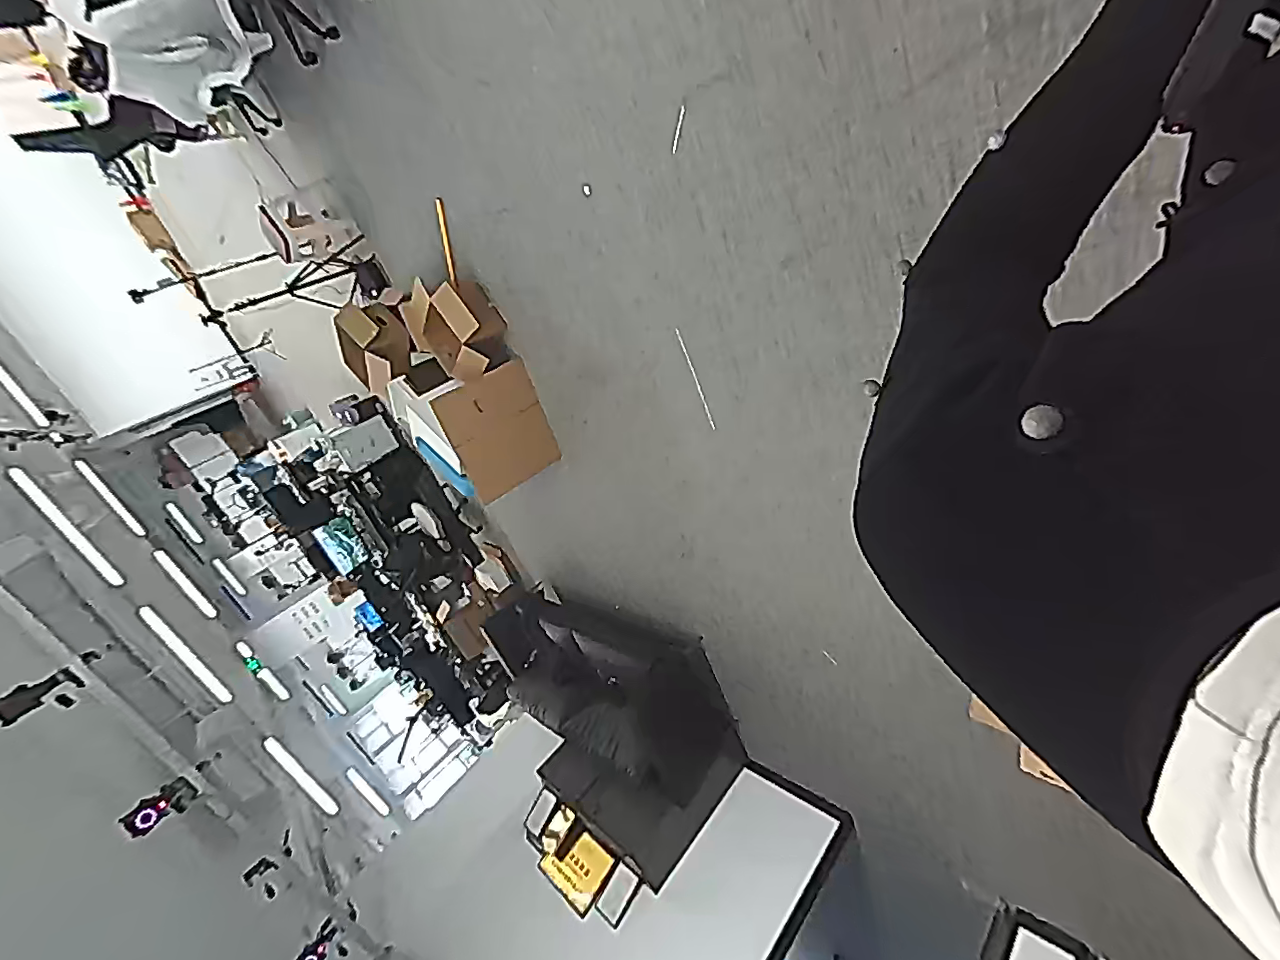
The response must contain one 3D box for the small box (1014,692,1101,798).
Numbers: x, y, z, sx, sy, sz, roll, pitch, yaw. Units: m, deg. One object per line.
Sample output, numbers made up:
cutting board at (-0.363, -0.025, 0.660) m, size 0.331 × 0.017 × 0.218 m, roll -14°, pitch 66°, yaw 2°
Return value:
small box at (1.186, 0.743, 1.536) m, size 0.168 × 0.176 × 0.179 m, roll 12°, pitch 129°, yaw 45°
